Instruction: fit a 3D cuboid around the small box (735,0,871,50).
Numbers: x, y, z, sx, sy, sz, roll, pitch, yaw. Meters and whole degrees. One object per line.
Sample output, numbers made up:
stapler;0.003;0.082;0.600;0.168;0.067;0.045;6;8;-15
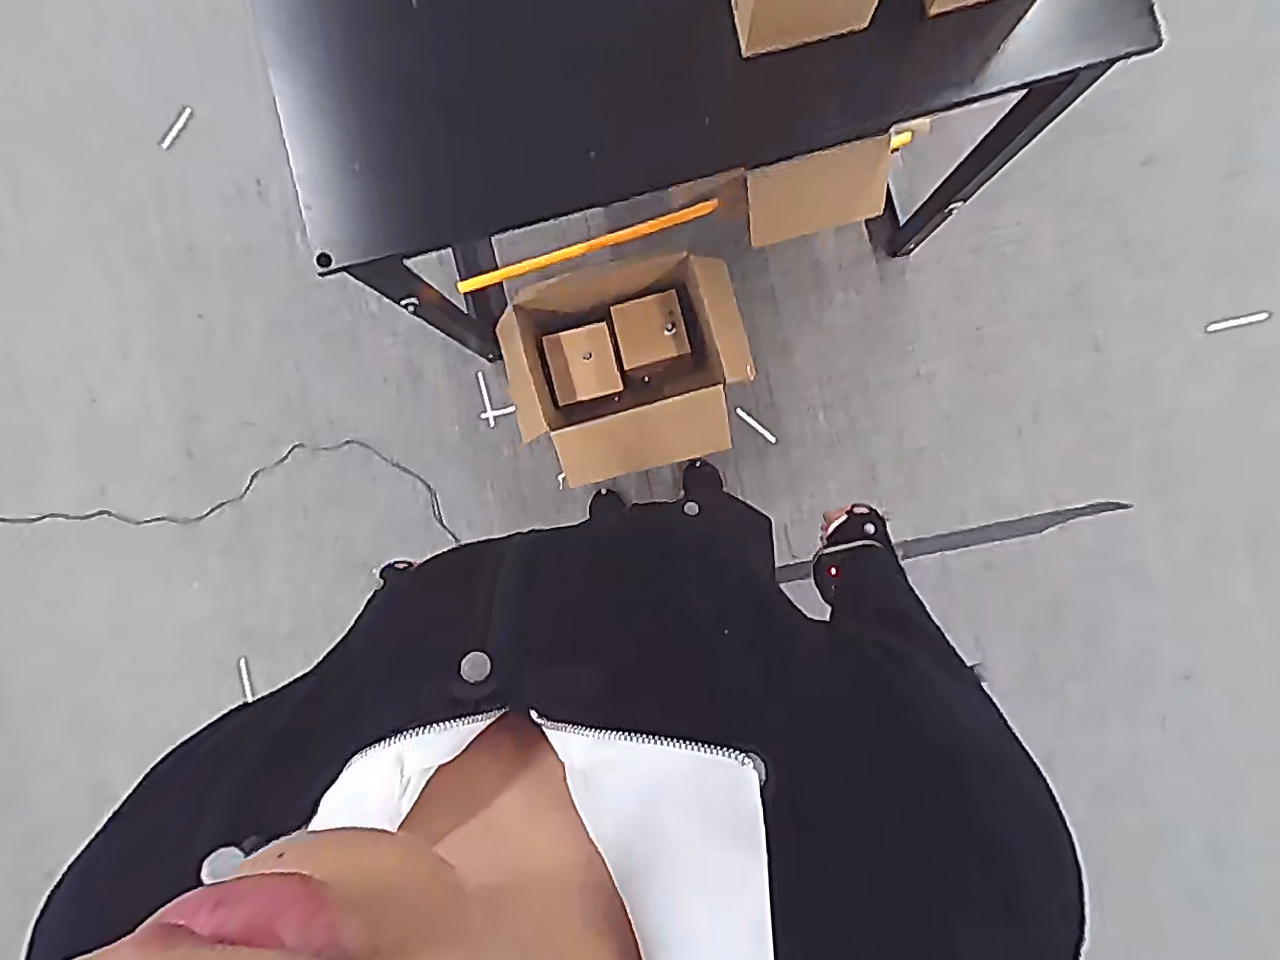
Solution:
small box;0.206;-0.682;0.666;0.179;0.176;0.168;-12;90;2

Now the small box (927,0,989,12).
small box;0.446;-0.733;0.652;0.168;0.176;0.179;-12;90;4
